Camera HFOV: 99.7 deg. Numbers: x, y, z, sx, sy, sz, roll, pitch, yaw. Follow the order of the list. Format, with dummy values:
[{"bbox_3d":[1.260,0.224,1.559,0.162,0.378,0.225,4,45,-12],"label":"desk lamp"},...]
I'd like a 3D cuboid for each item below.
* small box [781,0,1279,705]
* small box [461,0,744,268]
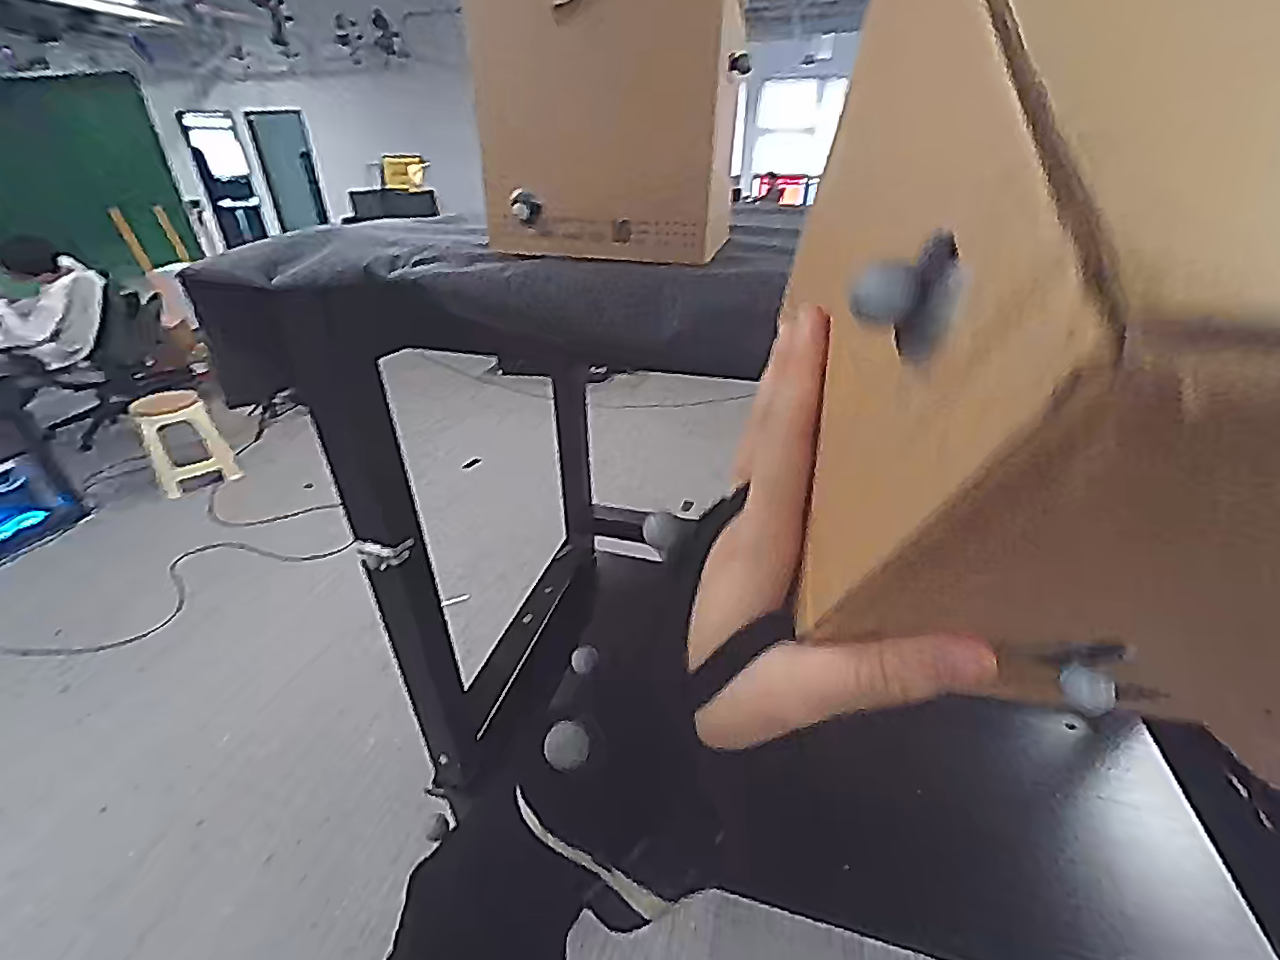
[{"bbox_3d":[0.140,-0.045,0.160,0.168,0.176,0.179,6,62,4],"label":"small box"},{"bbox_3d":[-0.014,-0.268,0.426,0.168,0.176,0.179,8,30,11],"label":"small box"}]
